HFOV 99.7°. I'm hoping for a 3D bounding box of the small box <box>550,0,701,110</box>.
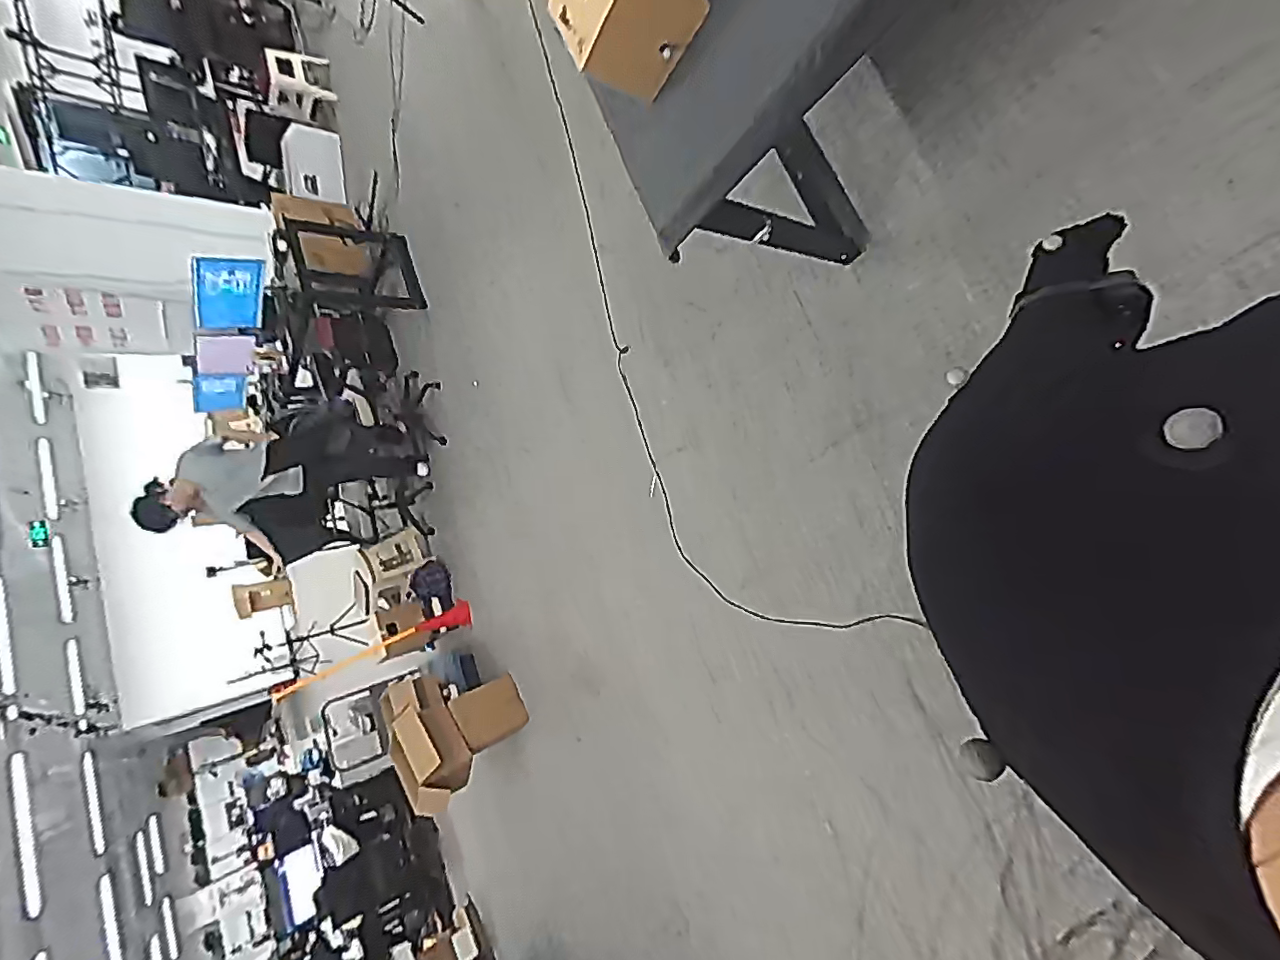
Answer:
[{"bbox_3d":[-0.019,-0.786,0.919,0.179,0.176,0.168,-38,69,44],"label":"small box"}]
